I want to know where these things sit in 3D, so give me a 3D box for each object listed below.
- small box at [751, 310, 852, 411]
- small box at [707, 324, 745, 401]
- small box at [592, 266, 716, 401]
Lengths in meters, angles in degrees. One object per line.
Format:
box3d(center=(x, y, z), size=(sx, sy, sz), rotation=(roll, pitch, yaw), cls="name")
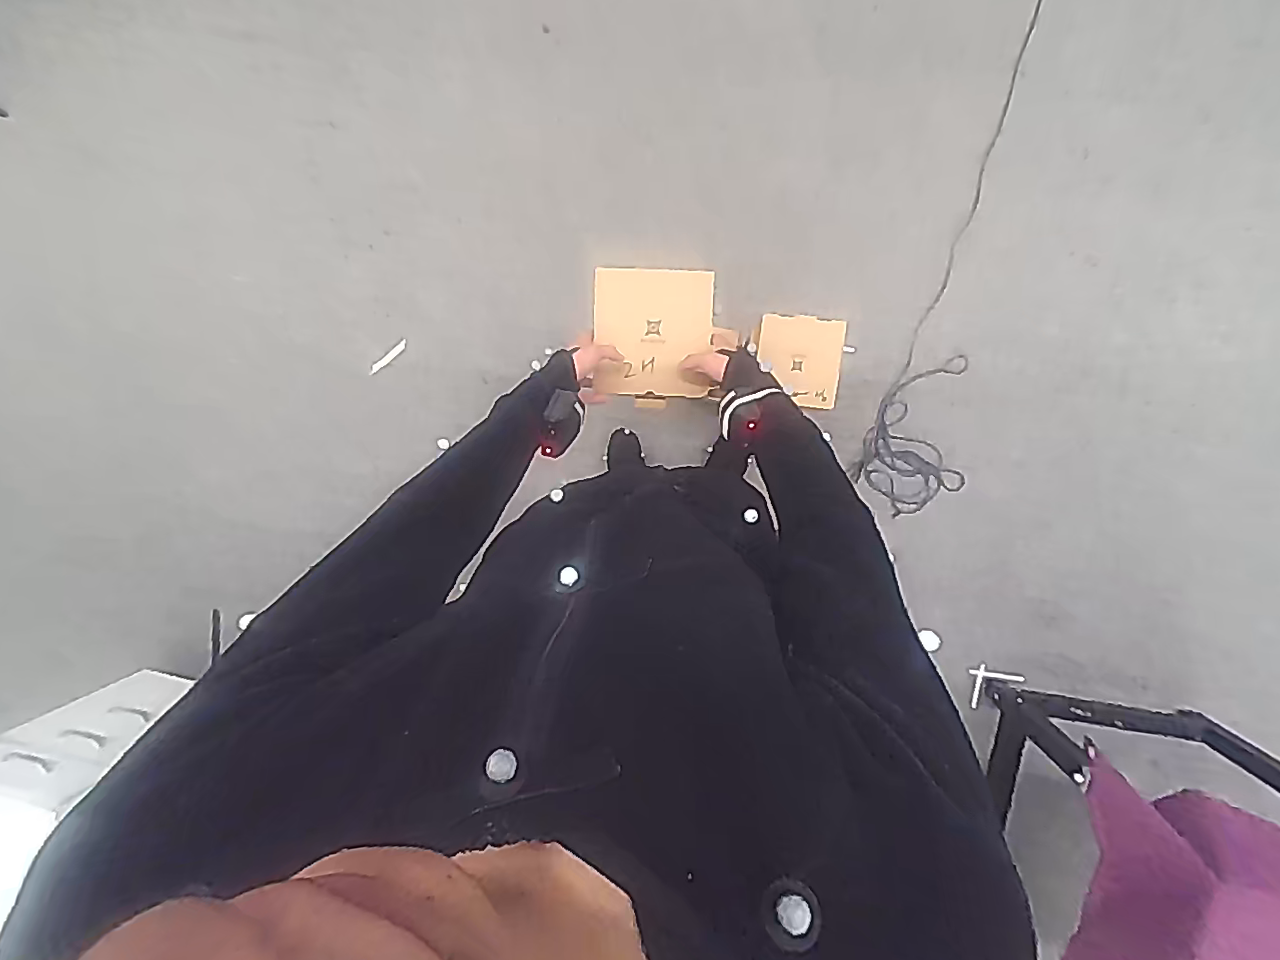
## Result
box3d(center=(0.330, -0.245, 1.140), size=(0.168, 0.176, 0.179), rotation=(8, 97, 7), cls="small box")
box3d(center=(0.149, -0.291, 1.325), size=(0.179, 0.176, 0.168), rotation=(14, 99, 7), cls="small box")
box3d(center=(0.020, -0.214, 0.824), size=(0.168, 0.176, 0.179), rotation=(3, 100, 2), cls="small box")
